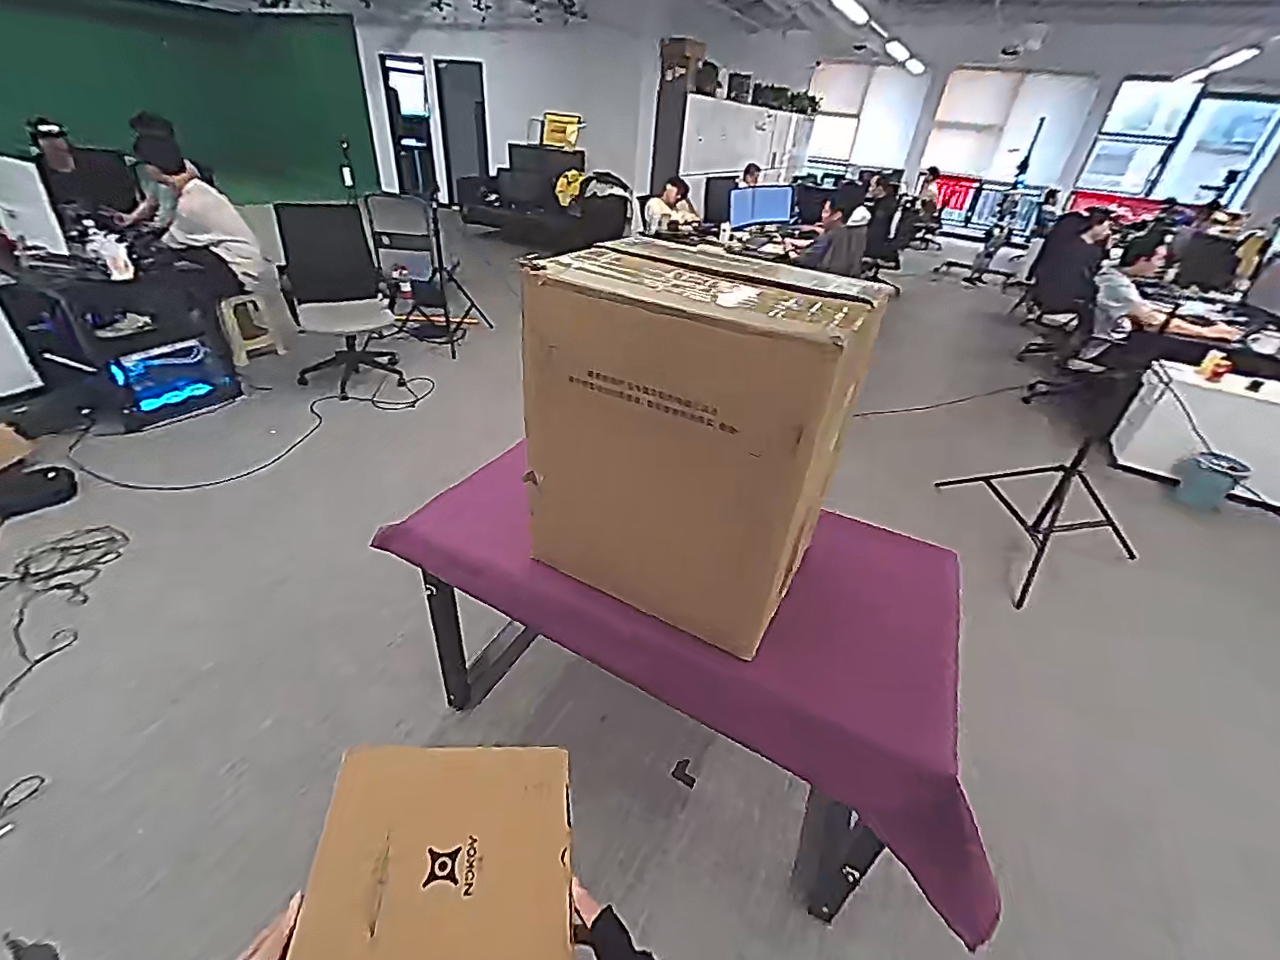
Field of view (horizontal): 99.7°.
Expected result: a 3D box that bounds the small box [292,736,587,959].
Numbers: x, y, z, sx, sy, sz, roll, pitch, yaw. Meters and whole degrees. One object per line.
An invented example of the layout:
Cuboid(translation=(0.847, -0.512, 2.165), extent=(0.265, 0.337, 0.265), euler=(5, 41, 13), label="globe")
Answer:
Cuboid(translation=(-0.147, 0.320, 0.418), extent=(0.179, 0.176, 0.168), euler=(6, 36, -16), label="small box")
